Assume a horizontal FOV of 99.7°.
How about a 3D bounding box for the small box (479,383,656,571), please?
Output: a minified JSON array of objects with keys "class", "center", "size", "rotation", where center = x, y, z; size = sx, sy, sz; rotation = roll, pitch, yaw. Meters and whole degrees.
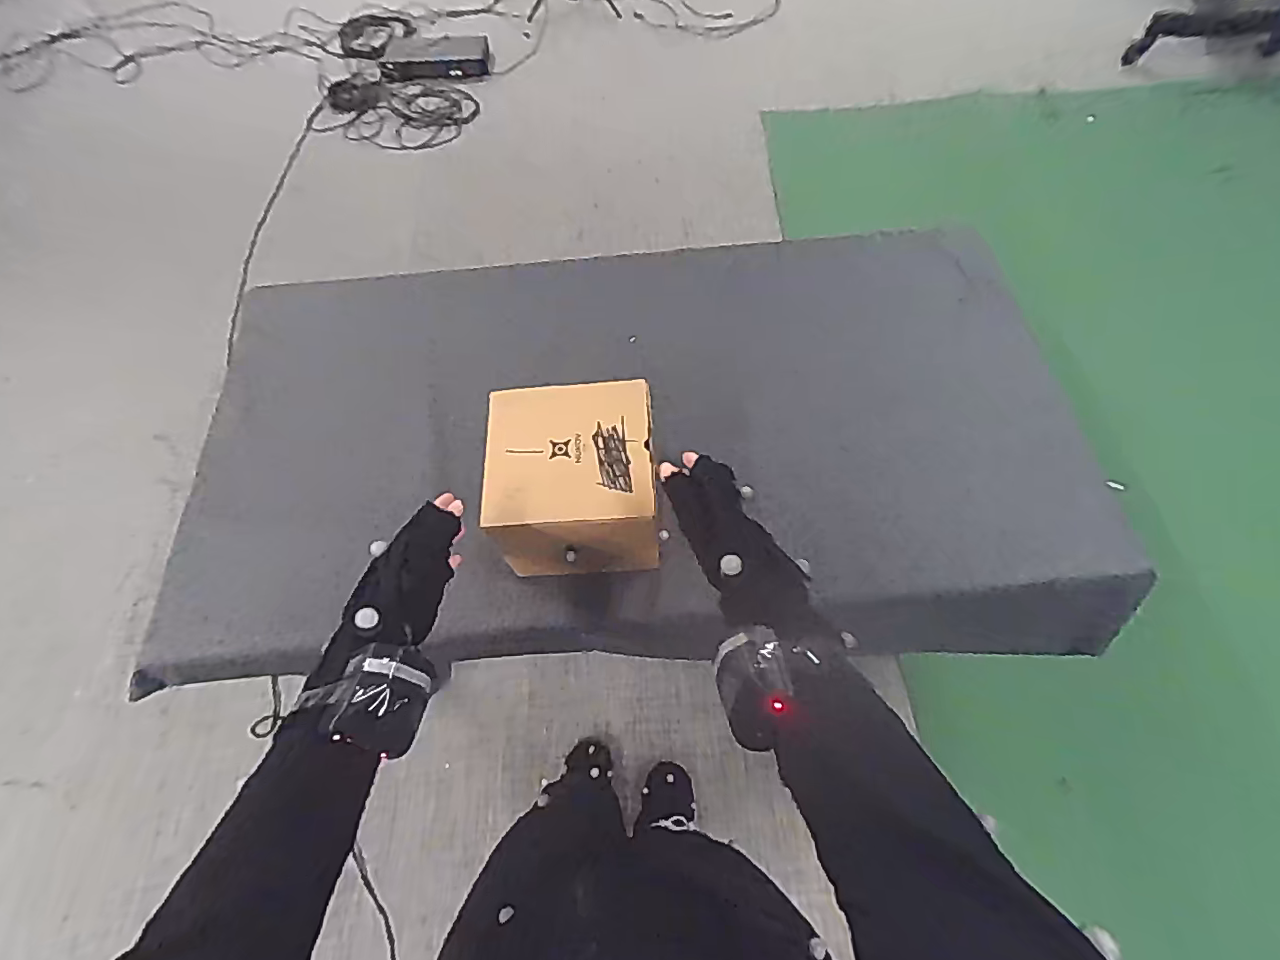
[{"class":"small box","center":[-0.070,0.003,0.636],"size":[0.179,0.176,0.168],"rotation":[-1,62,2]}]
